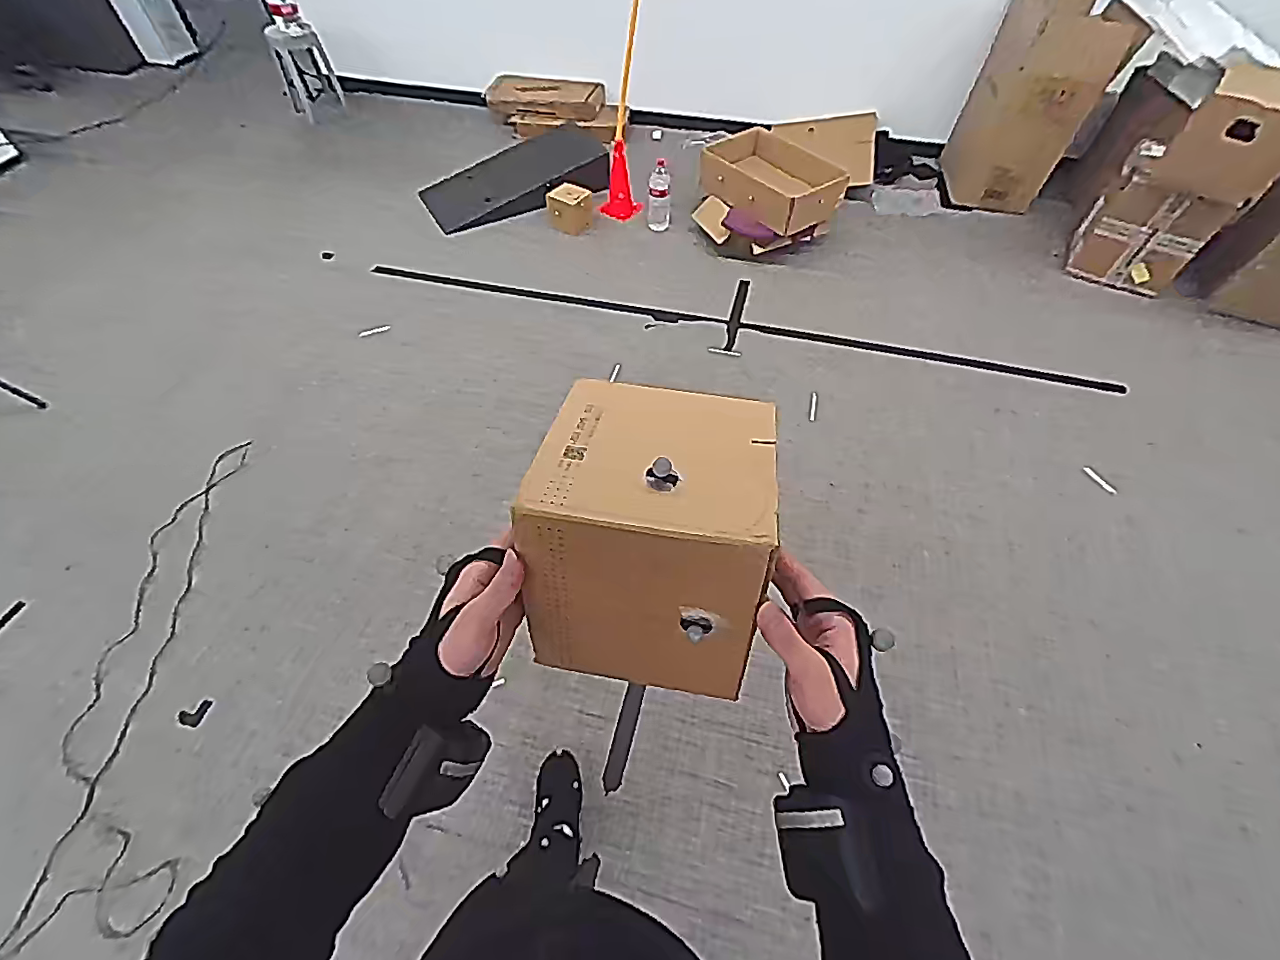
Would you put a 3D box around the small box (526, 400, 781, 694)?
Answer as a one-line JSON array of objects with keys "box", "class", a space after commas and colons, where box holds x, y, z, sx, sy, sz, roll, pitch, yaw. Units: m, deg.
[{"box": [0.012, 0.046, 0.446, 0.176, 0.179, 0.168, 9, 39, 6], "class": "small box"}]
